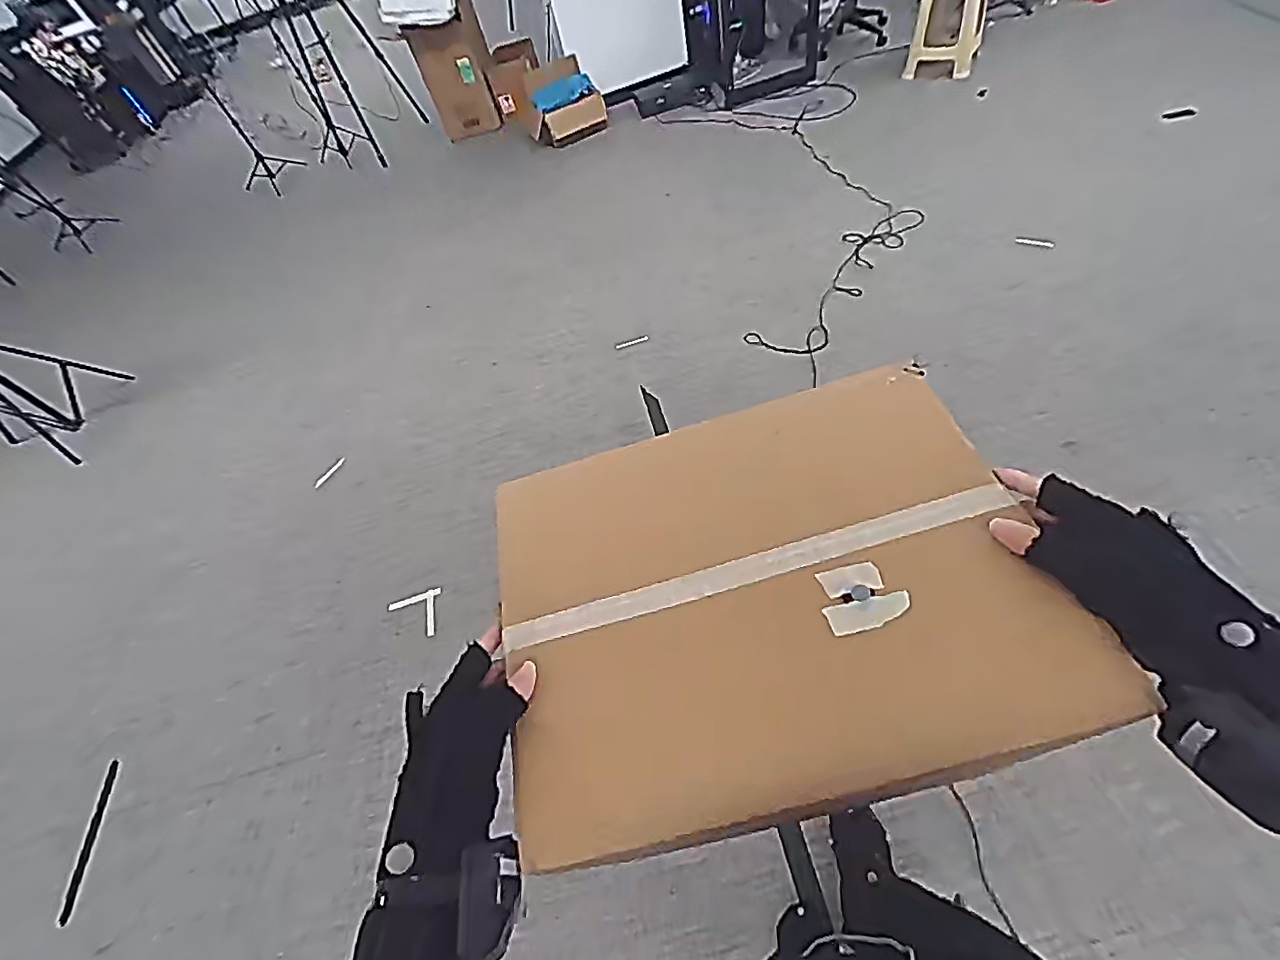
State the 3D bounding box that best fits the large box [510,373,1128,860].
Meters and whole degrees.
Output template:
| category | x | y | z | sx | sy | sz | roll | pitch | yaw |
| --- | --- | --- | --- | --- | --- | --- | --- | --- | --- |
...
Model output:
| category | x | y | z | sx | sy | sz | roll | pitch | yaw |
| --- | --- | --- | --- | --- | --- | --- | --- | --- | --- |
| large box | 0.121 | 0.156 | 0.556 | 0.408 | 0.320 | 0.320 | -17 | 55 | 3 |
